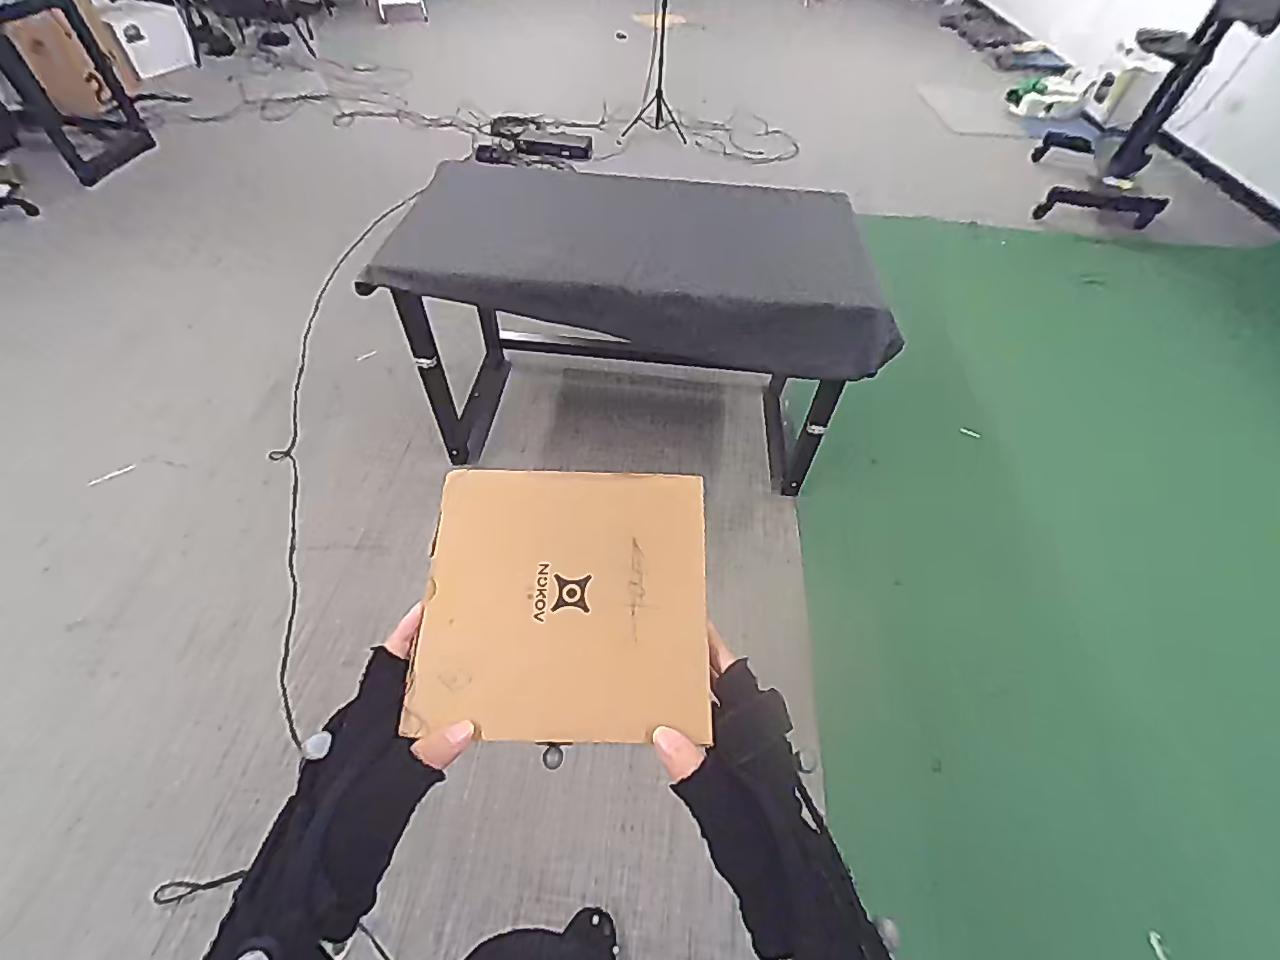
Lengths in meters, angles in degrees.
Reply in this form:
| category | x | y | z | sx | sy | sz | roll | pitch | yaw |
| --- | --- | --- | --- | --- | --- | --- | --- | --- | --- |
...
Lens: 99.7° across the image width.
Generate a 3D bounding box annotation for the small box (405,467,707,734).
| category | x | y | z | sx | sy | sz | roll | pitch | yaw |
| --- | --- | --- | --- | --- | --- | --- | --- | --- | --- |
| small box | -0.048 | 0.100 | 0.412 | 0.179 | 0.176 | 0.168 | 2 | 66 | -2 |
